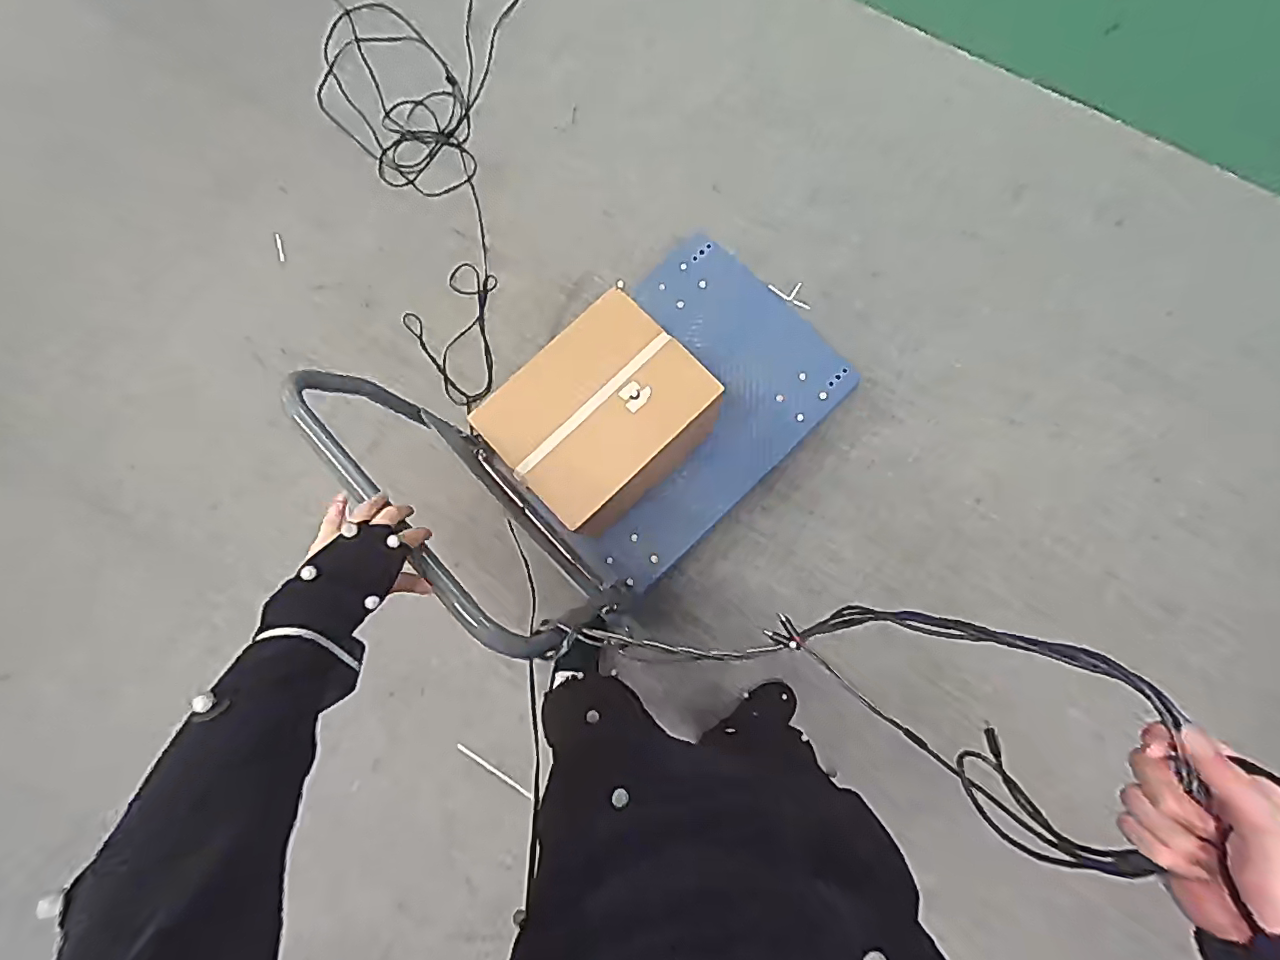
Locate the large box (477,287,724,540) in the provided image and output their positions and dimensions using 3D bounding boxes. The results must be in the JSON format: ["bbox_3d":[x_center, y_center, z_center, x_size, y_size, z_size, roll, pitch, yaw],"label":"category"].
[{"bbox_3d":[-0.073,-0.122,1.198,0.408,0.320,0.320,-44,81,-6],"label":"large box"}]
